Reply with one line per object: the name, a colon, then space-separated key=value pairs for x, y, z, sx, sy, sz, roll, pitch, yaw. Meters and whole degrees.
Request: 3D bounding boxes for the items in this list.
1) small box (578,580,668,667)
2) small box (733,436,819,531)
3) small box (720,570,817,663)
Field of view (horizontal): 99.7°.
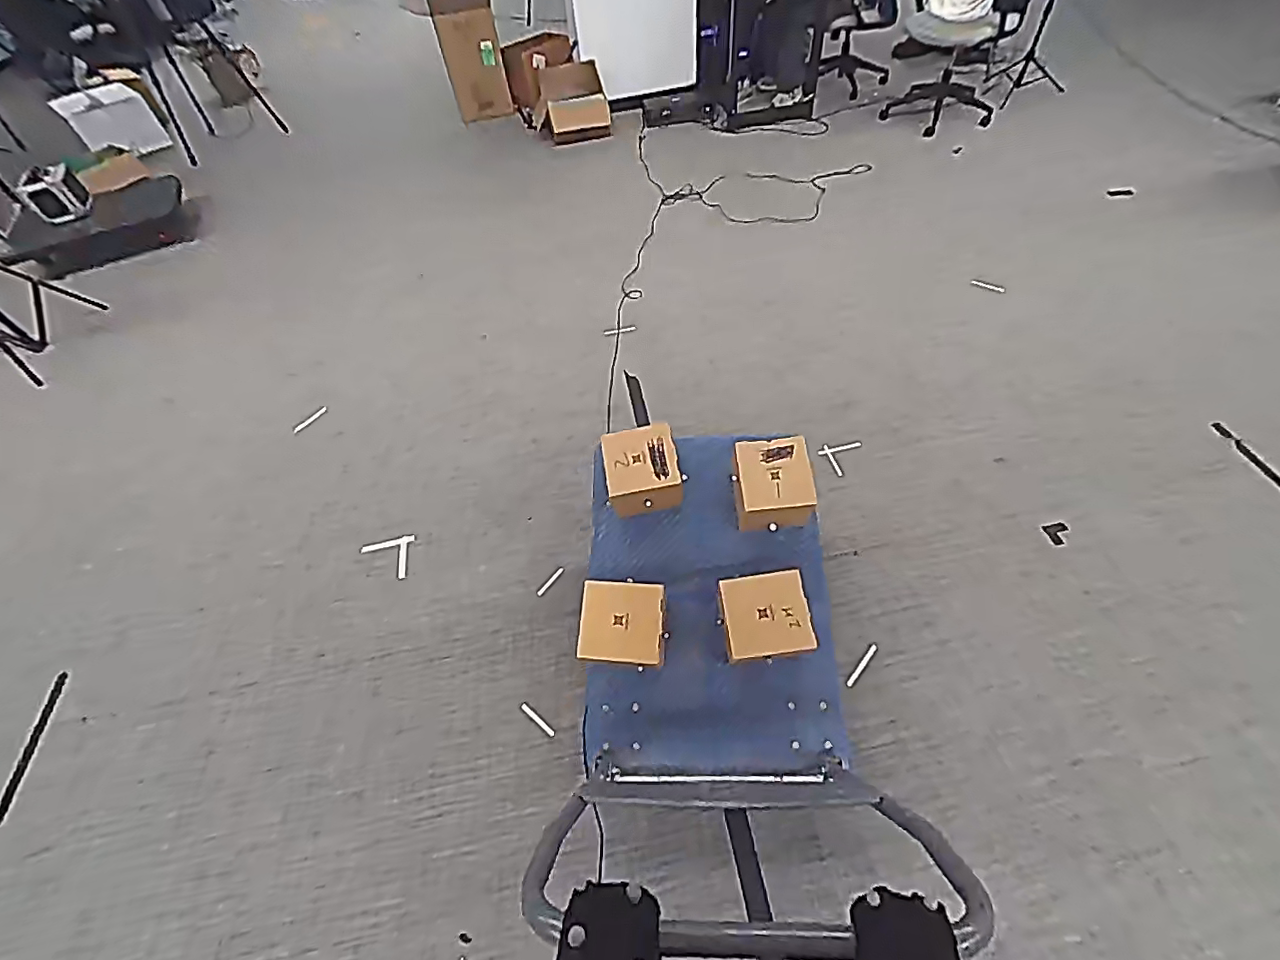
small box: x=-0.031 y=0.331 z=1.229 sx=0.179 sy=0.176 sz=0.168 roll=2 pitch=68 yaw=6
small box: x=0.323 y=0.013 z=1.317 sx=0.168 sy=0.176 sz=0.179 roll=-6 pitch=69 yaw=4
small box: x=0.276 y=0.309 z=1.203 sx=0.179 sy=0.176 sz=0.168 roll=-9 pitch=68 yaw=3
